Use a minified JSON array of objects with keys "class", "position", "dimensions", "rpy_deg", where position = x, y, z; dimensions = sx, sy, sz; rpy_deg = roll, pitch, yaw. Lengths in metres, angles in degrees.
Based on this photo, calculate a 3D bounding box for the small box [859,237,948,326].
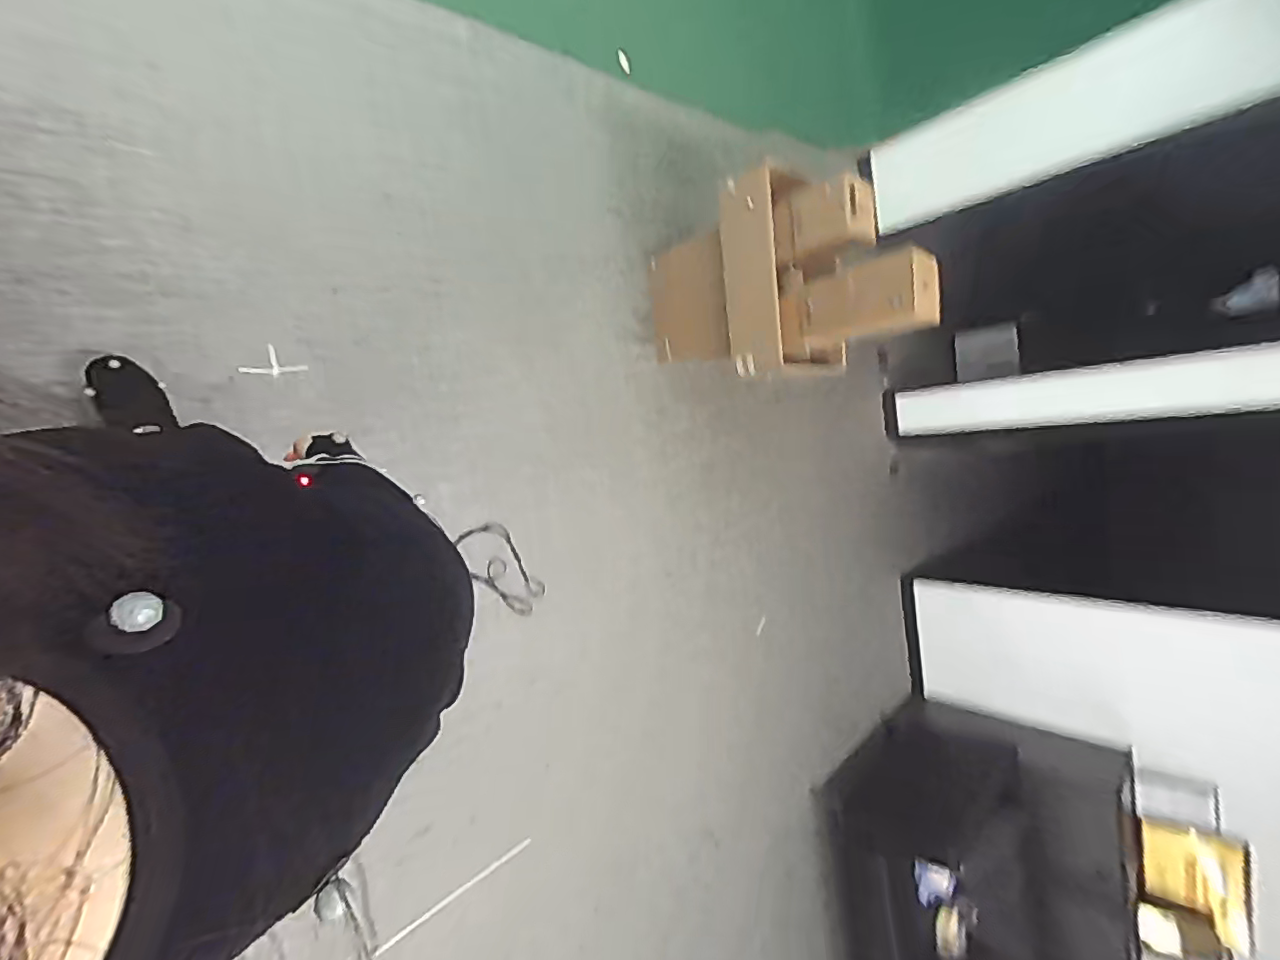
[{"class":"small box","position":[0.720,-0.532,1.483],"dimensions":[0.168,0.176,0.179],"rpy_deg":[-4,91,-40]}]

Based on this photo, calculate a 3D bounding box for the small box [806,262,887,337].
[{"class":"small box","position":[0.618,-0.530,1.613],"dimensions":[0.179,0.176,0.168],"rpy_deg":[-6,93,-39]}]
